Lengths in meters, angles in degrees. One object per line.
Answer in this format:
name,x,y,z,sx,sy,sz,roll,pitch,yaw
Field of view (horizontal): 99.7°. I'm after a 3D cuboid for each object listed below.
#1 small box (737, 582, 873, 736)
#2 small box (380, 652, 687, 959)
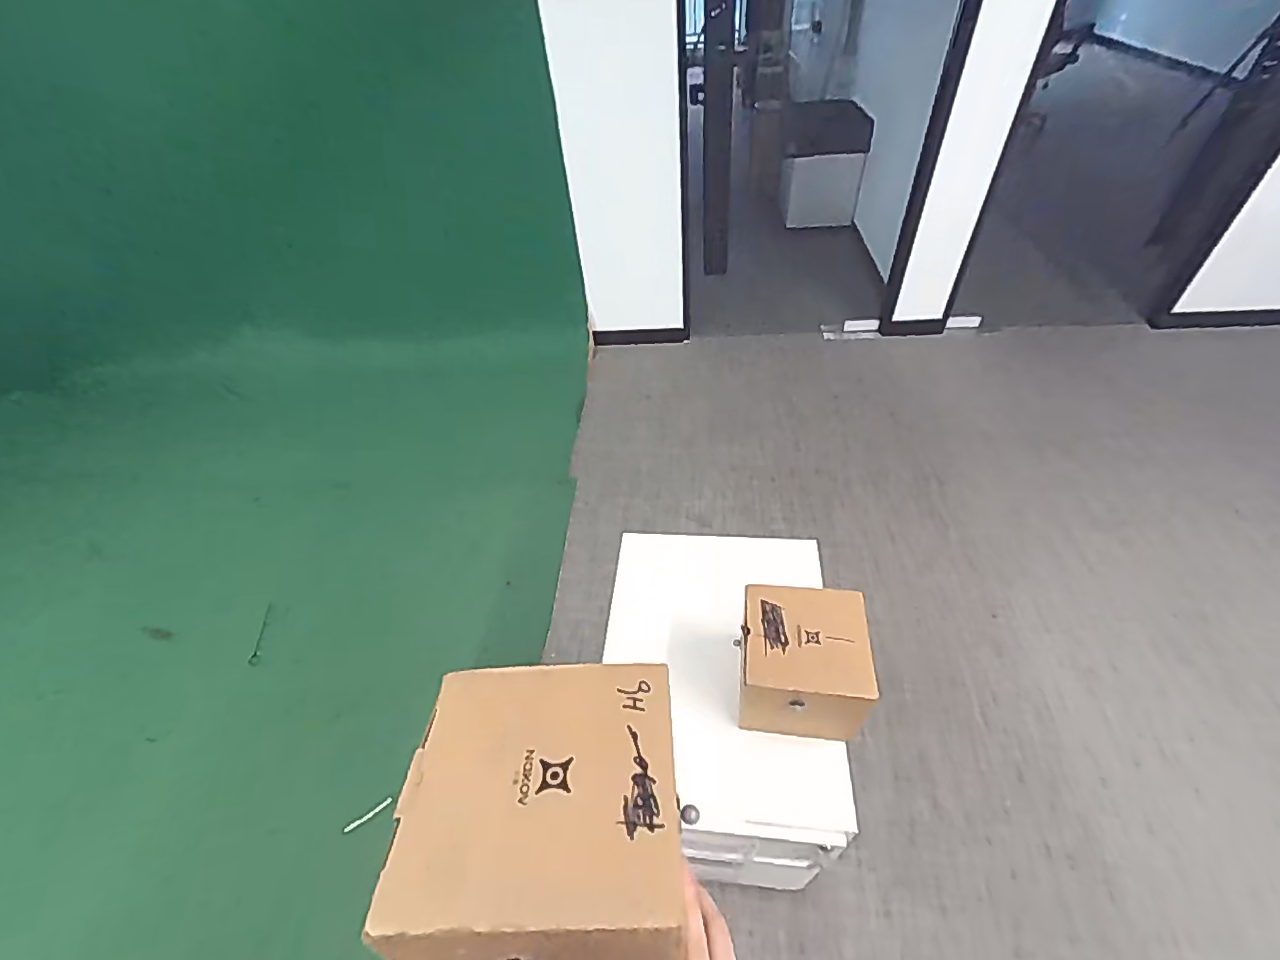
small box,0.244,0.280,0.840,0.179,0.176,0.168,4,47,9
small box,-0.057,0.253,0.411,0.179,0.176,0.168,-2,36,2
